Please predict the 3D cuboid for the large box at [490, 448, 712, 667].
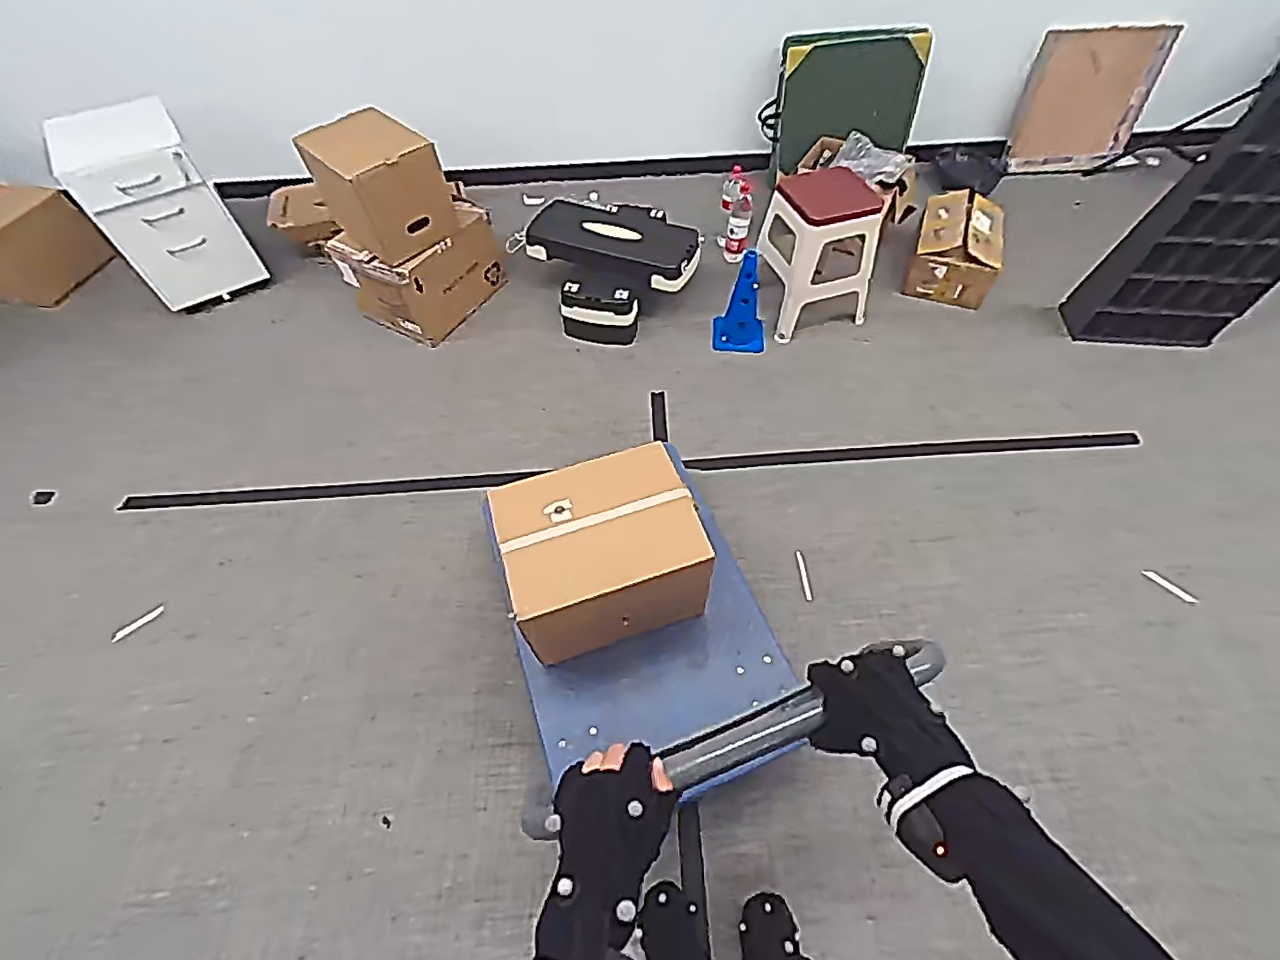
[{"bbox_3d":[-0.084,0.184,1.247,0.408,0.320,0.320,-18,57,-9],"label":"large box"}]
